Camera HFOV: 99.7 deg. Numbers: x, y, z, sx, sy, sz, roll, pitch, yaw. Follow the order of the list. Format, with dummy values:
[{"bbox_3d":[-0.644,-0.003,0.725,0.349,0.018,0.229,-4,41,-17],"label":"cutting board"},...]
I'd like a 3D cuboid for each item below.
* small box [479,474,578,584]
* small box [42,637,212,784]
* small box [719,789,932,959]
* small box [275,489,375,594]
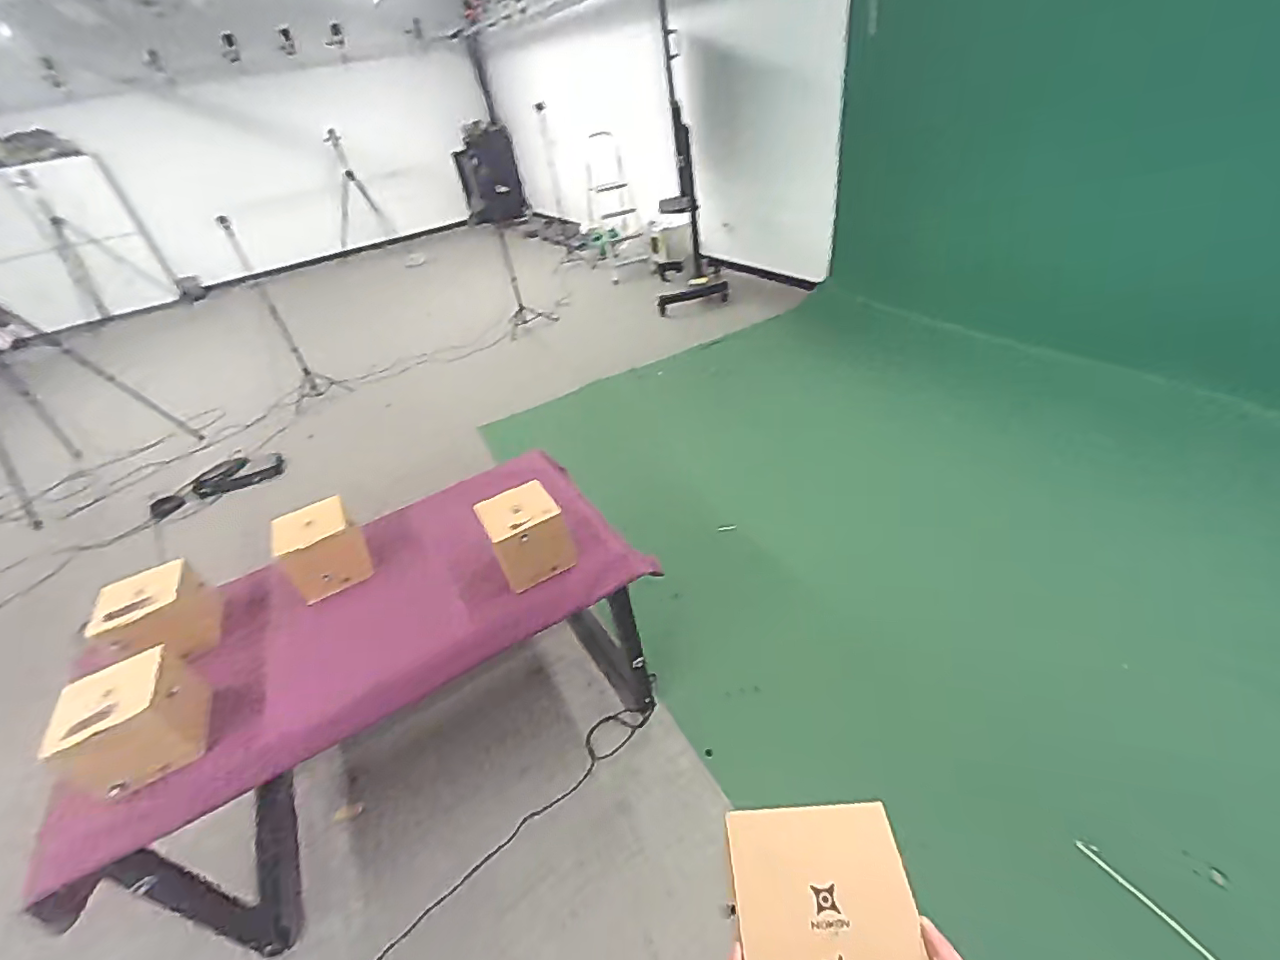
[{"bbox_3d":[-0.271,0.119,1.315,0.168,0.176,0.179,-25,37,-17],"label":"small box"},{"bbox_3d":[-0.966,0.449,1.042,0.168,0.176,0.179,-25,39,-20],"label":"small box"},{"bbox_3d":[0.175,0.446,0.557,0.168,0.176,0.179,-5,42,1],"label":"small box"},{"bbox_3d":[-0.810,0.159,1.394,0.168,0.176,0.179,-25,40,-20],"label":"small box"}]
